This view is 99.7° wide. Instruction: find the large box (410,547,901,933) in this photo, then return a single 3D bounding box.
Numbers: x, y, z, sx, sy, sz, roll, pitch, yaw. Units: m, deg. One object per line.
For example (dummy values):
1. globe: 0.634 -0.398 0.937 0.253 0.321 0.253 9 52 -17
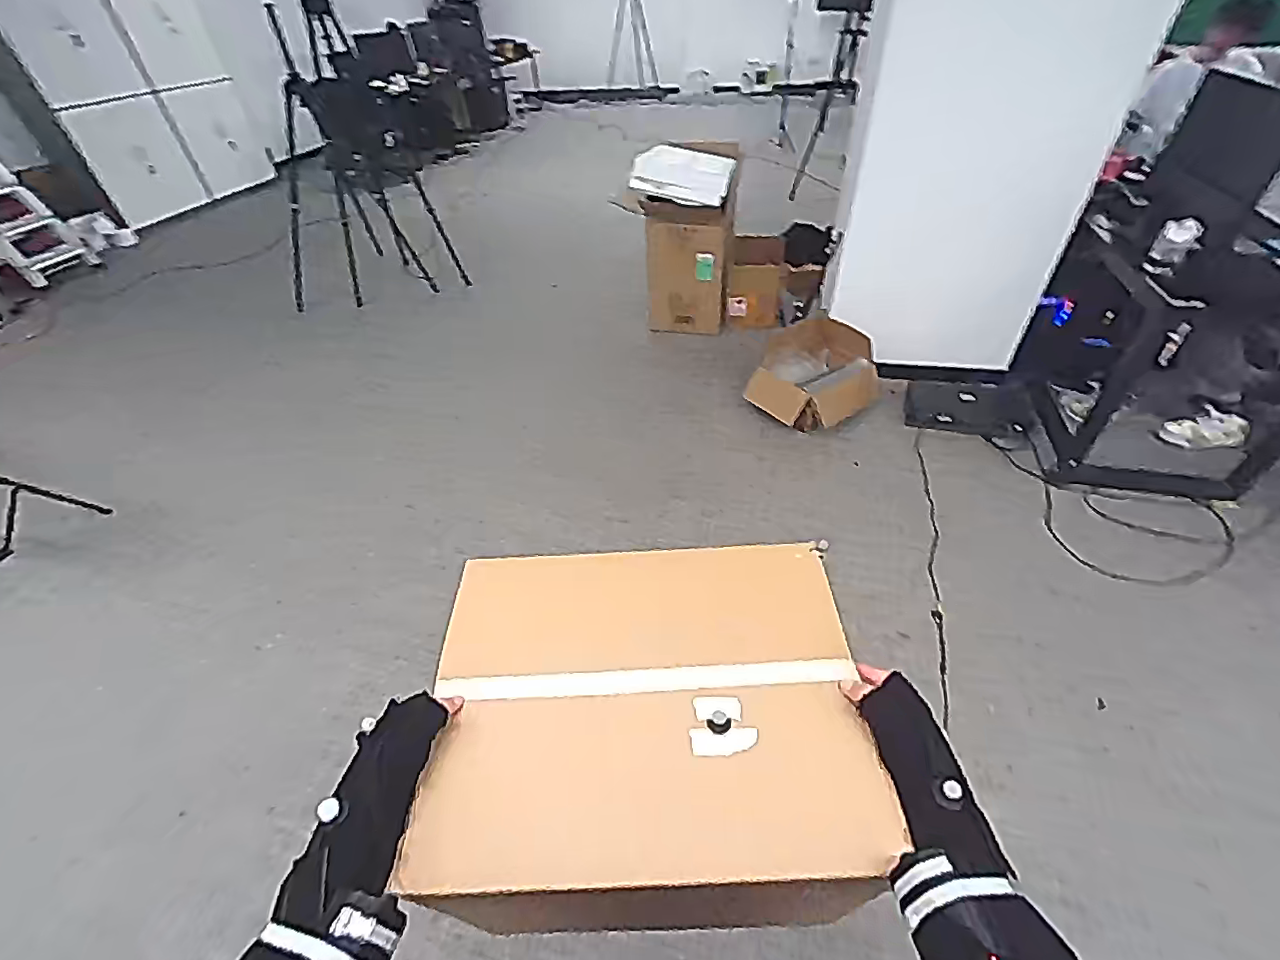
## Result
1. large box: 0.012 0.305 0.637 0.408 0.320 0.320 -3 45 1
